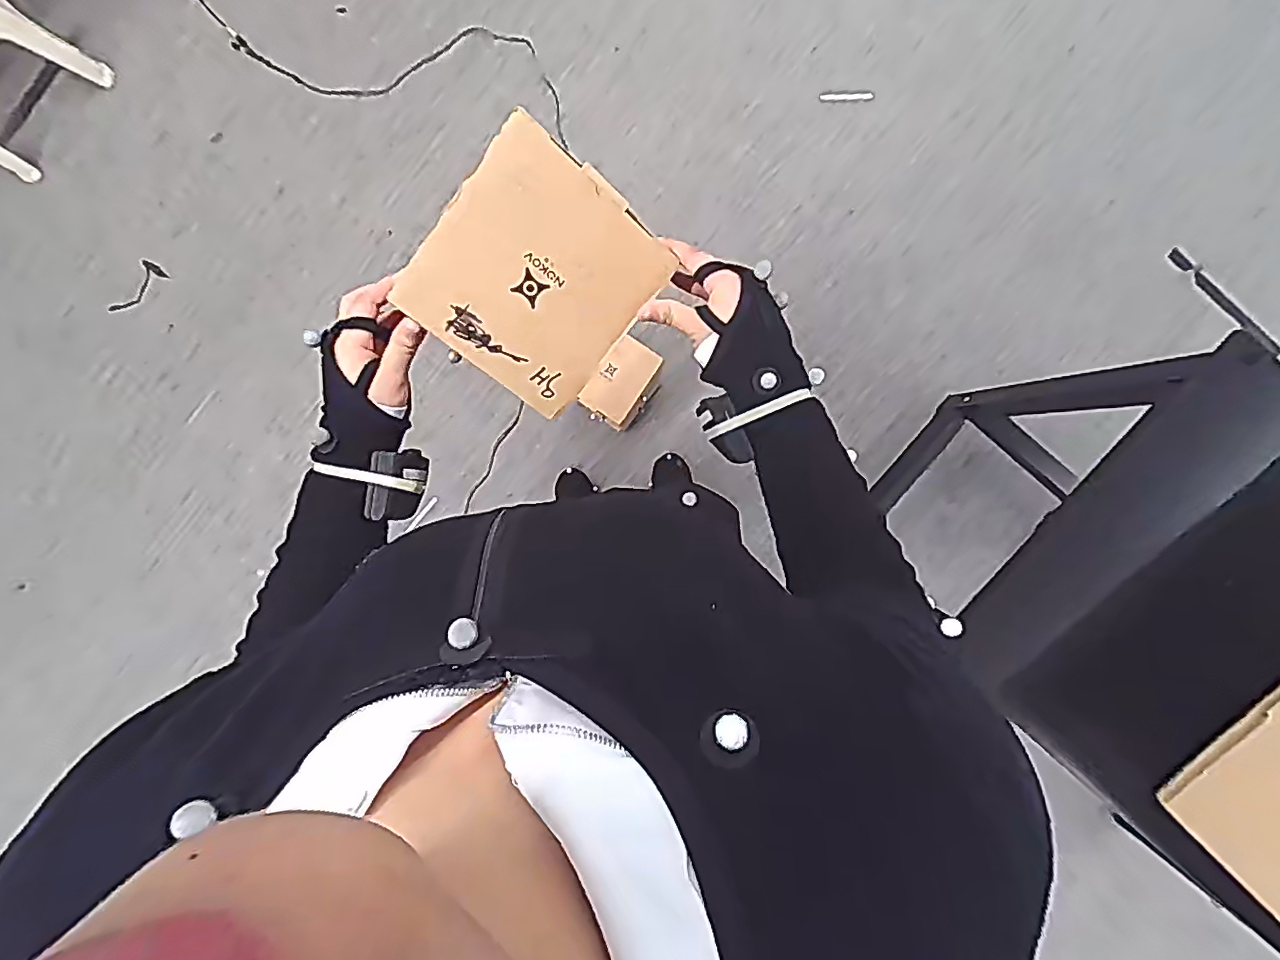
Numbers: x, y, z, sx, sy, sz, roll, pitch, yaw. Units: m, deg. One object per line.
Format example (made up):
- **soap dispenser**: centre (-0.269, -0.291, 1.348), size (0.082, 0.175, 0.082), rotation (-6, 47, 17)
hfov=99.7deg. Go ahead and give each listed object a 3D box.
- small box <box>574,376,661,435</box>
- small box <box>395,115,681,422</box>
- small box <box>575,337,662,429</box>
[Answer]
- **small box**: centre (-0.062, -0.233, 1.405), size (0.168, 0.176, 0.179), rotation (37, 94, 0)
- **small box**: centre (-0.092, -0.187, 0.511), size (0.168, 0.176, 0.179), rotation (37, 100, -19)
- **small box**: centre (-0.063, -0.231, 1.242), size (0.168, 0.176, 0.179), rotation (34, 92, -1)
